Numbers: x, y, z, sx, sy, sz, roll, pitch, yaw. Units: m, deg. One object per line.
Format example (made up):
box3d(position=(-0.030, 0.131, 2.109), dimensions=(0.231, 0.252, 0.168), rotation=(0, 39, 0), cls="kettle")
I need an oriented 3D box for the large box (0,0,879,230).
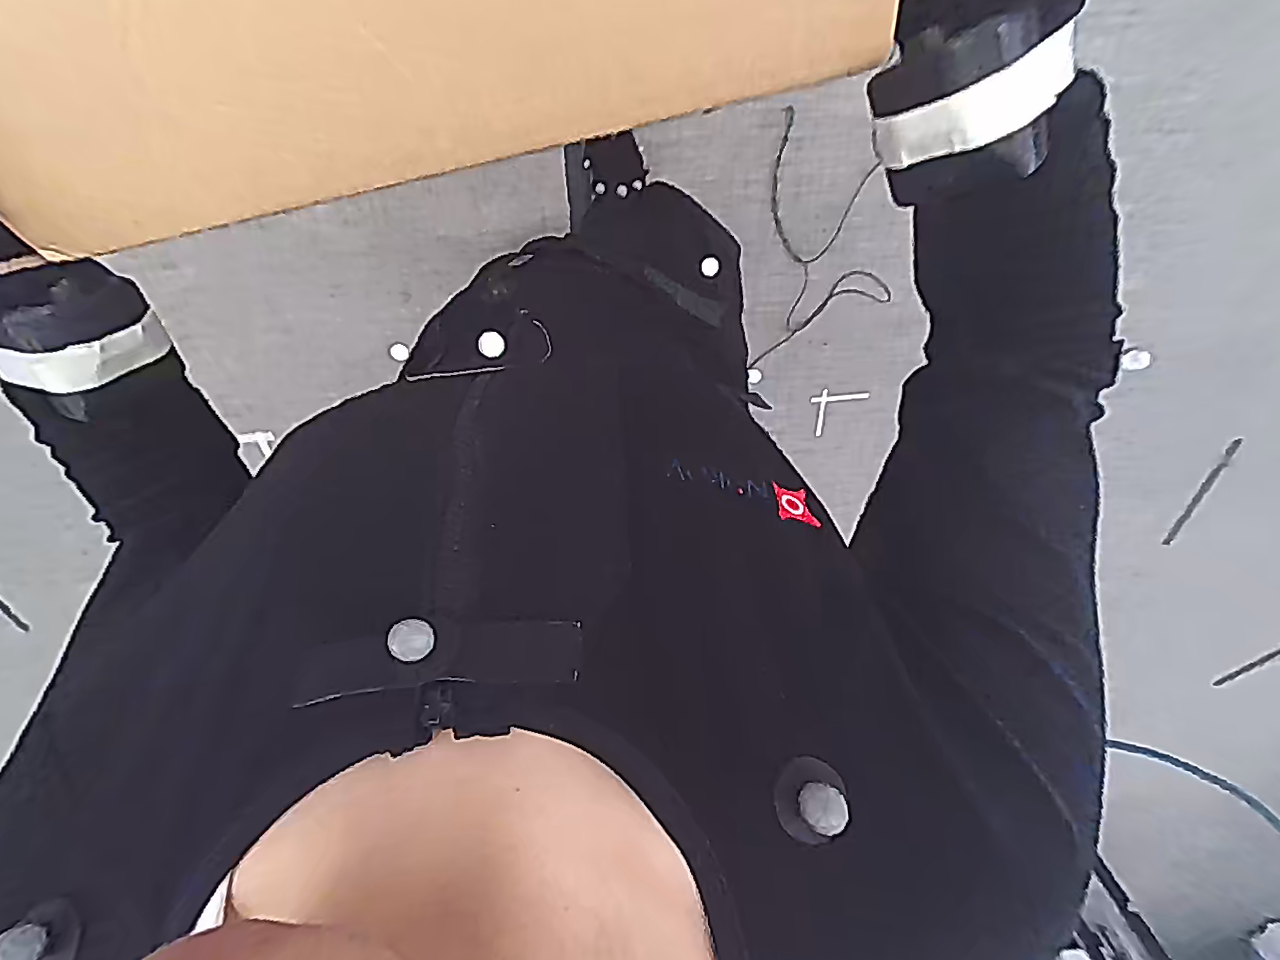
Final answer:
box3d(position=(-0.128, -0.367, 0.236), dimensions=(0.408, 0.320, 0.320), rotation=(-9, 138, 5), cls="large box")
